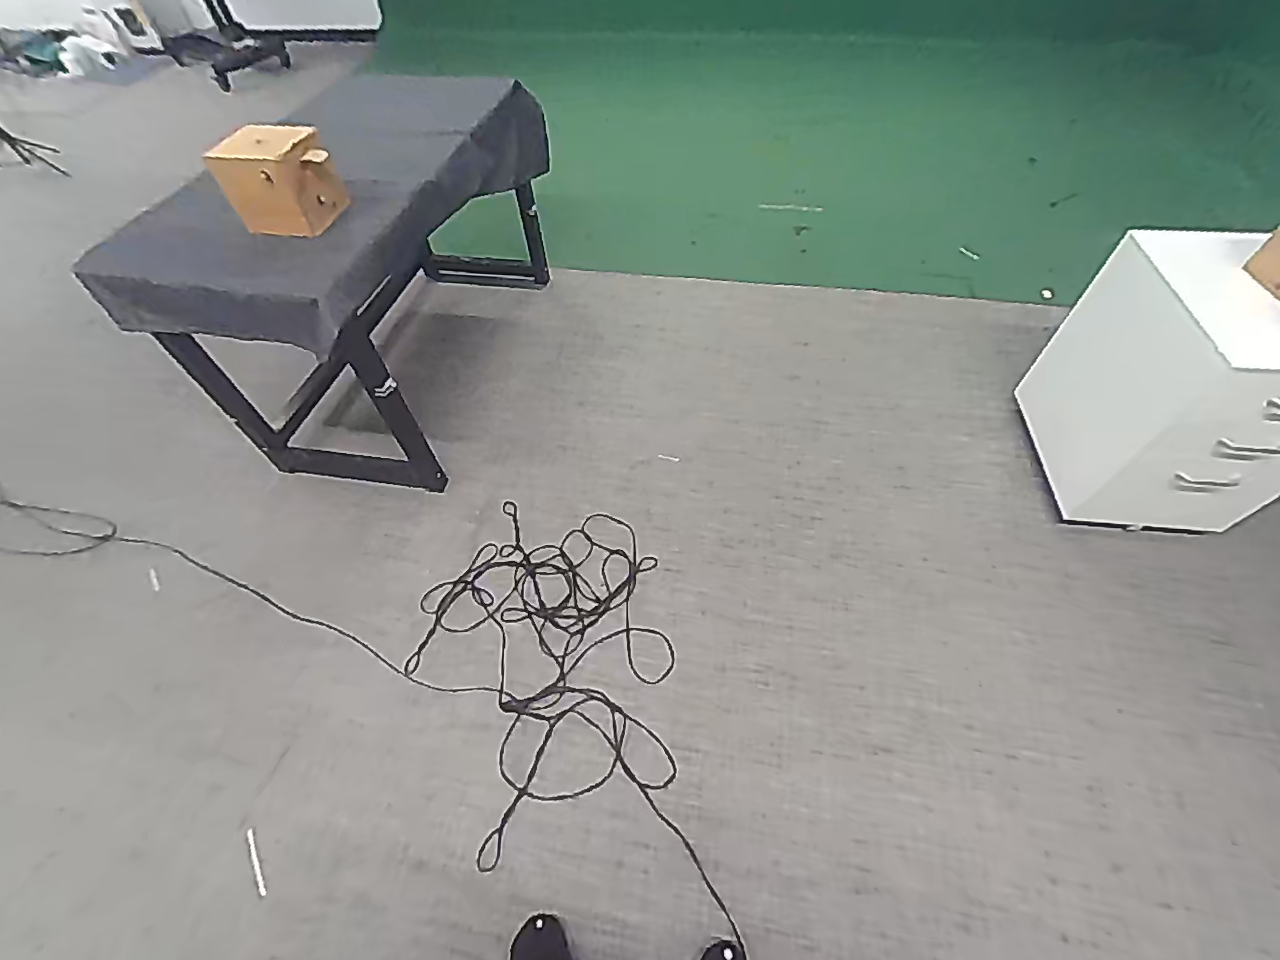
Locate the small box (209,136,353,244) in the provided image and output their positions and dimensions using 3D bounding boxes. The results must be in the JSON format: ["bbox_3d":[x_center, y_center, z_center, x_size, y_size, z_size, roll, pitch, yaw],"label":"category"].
[{"bbox_3d":[-0.802,-0.658,1.230,0.179,0.176,0.168,6,53,8],"label":"small box"}]
